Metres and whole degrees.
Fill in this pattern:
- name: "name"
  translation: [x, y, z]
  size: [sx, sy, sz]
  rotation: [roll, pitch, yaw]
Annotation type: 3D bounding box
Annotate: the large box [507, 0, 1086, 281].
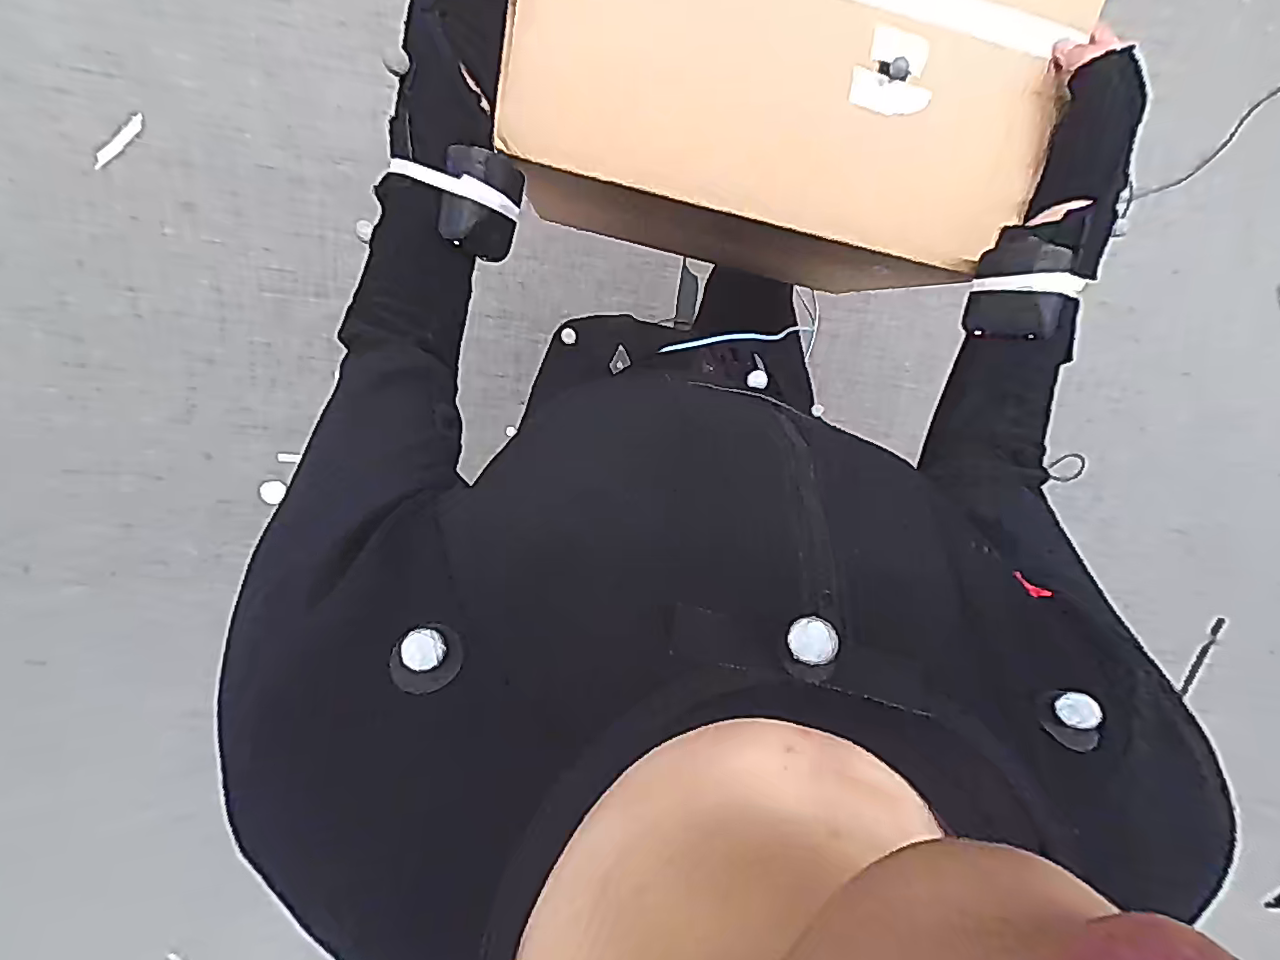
- name: "large box"
  translation: [0.109, -0.396, 0.518]
  size: [0.408, 0.320, 0.320]
  rotation: [10, 108, -9]
